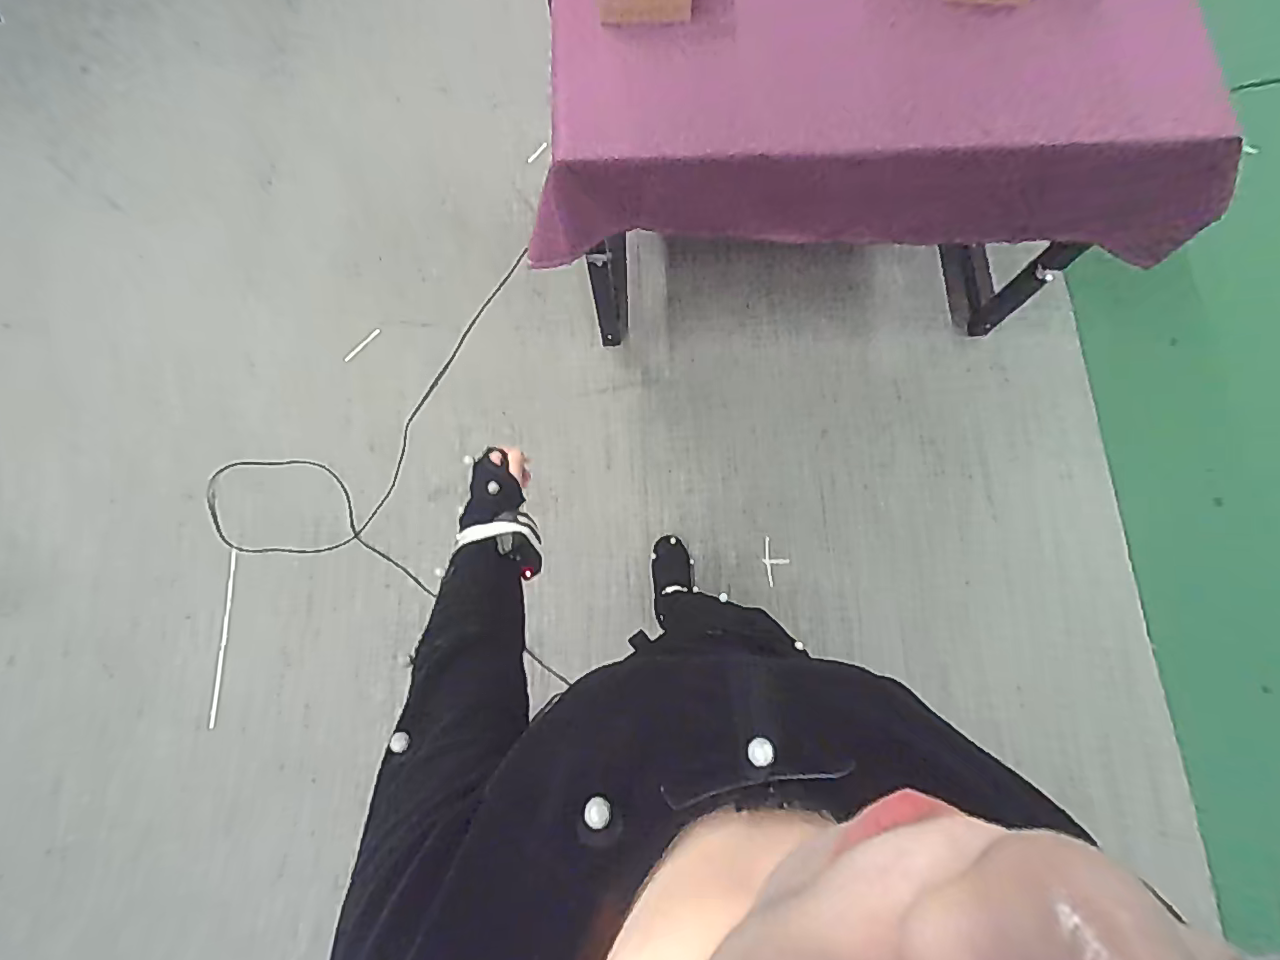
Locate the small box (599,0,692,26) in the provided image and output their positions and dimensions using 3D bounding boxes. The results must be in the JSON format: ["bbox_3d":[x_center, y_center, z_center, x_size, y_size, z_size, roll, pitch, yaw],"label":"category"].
[{"bbox_3d":[0.013,-0.966,0.977,0.179,0.176,0.168,0,76,2],"label":"small box"}]

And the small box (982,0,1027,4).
[{"bbox_3d":[0.656,-0.999,0.961,0.168,0.176,0.179,6,77,3],"label":"small box"}]
